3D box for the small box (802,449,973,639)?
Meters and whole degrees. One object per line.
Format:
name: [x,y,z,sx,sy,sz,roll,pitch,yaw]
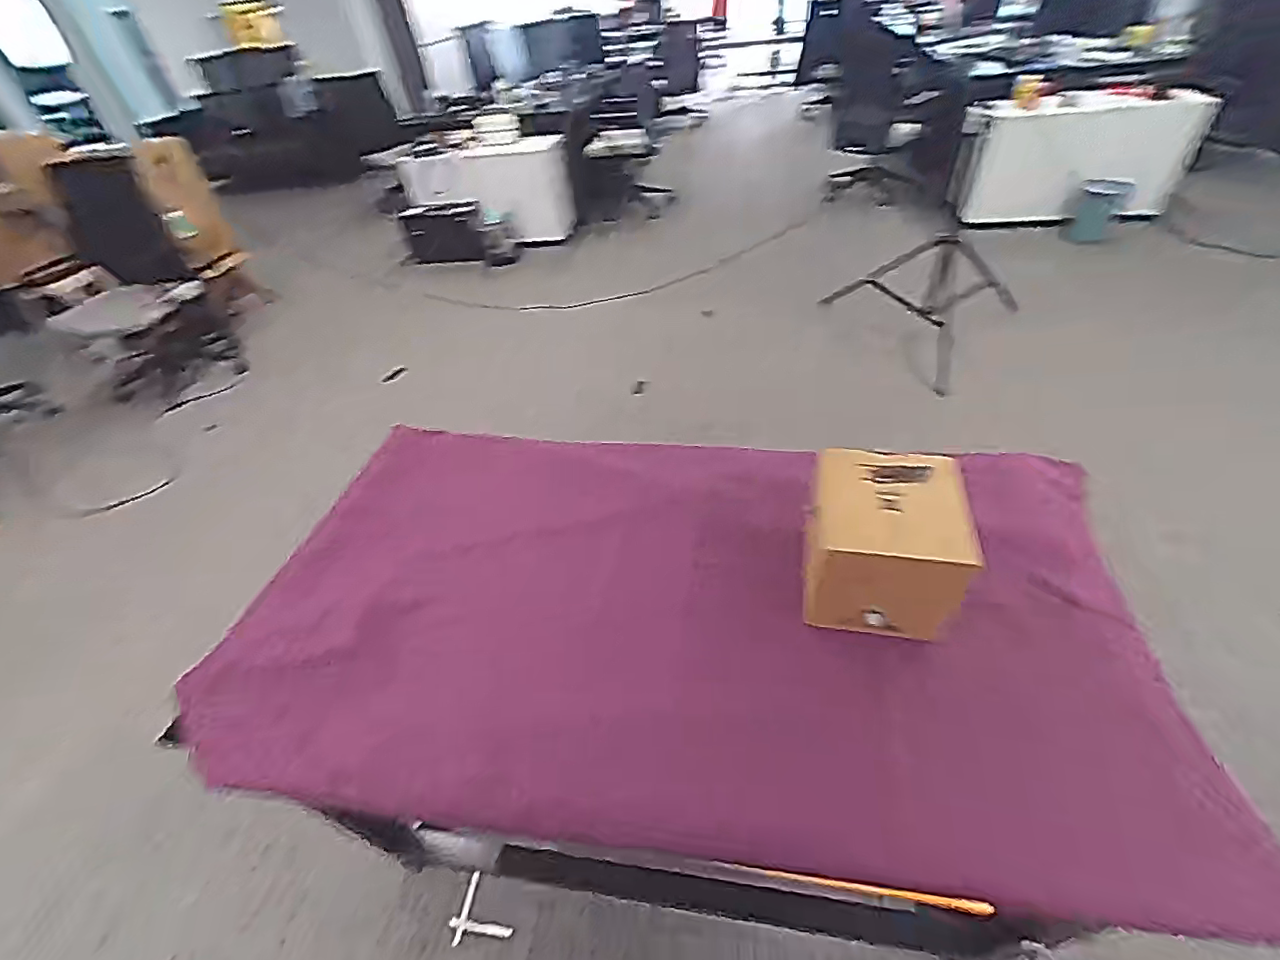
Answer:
small box: [0.308,0.082,0.716,0.168,0.176,0.179,4,45,13]
